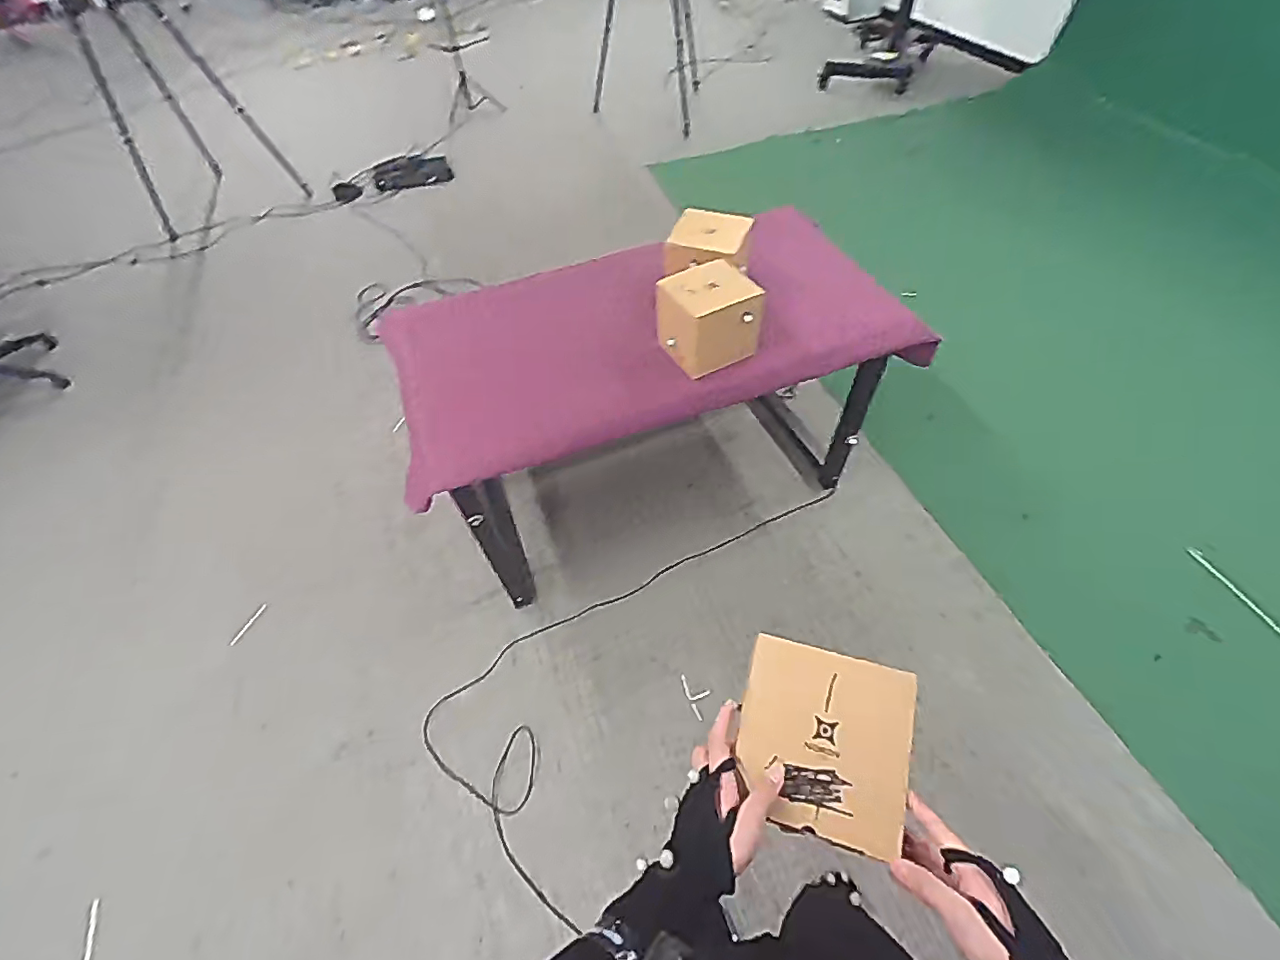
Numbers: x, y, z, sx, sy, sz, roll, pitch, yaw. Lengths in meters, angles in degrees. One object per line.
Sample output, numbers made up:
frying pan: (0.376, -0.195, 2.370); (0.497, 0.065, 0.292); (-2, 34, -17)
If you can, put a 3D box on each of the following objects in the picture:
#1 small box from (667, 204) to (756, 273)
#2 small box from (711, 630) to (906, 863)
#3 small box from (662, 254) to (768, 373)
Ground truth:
small box: (0.180, -0.561, 1.363); (0.179, 0.176, 0.168); (16, 57, 16)
small box: (0.183, 0.288, 0.611); (0.168, 0.176, 0.179); (11, 68, 14)
small box: (0.161, -0.374, 1.223); (0.179, 0.176, 0.168); (-25, 55, -13)
